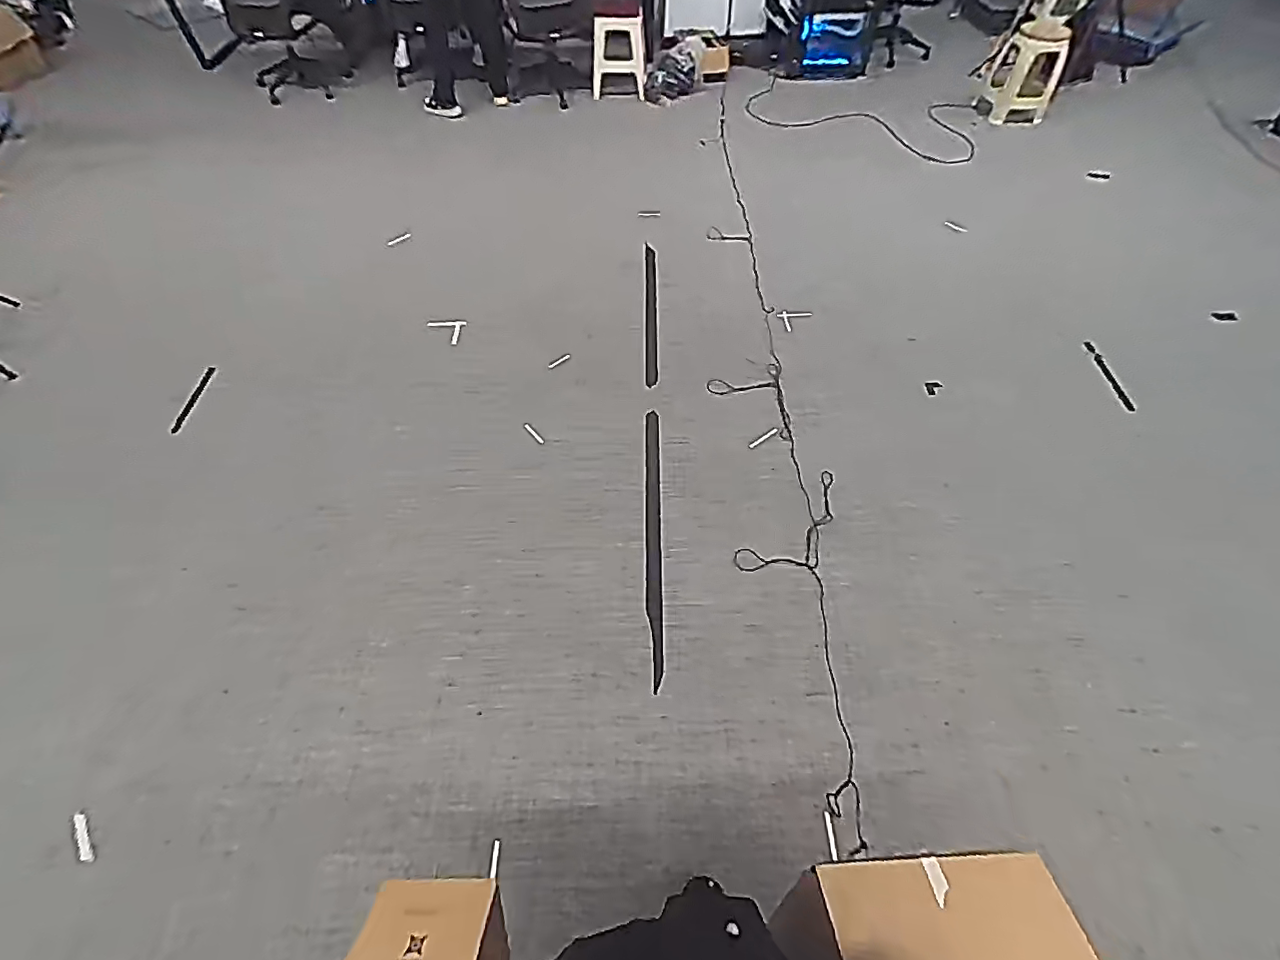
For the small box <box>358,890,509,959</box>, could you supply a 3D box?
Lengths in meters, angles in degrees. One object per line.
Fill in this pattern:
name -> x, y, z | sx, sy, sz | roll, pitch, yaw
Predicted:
small box -> -0.270, 0.678, 0.697 | 0.168, 0.176, 0.179 | -2, 14, 2
